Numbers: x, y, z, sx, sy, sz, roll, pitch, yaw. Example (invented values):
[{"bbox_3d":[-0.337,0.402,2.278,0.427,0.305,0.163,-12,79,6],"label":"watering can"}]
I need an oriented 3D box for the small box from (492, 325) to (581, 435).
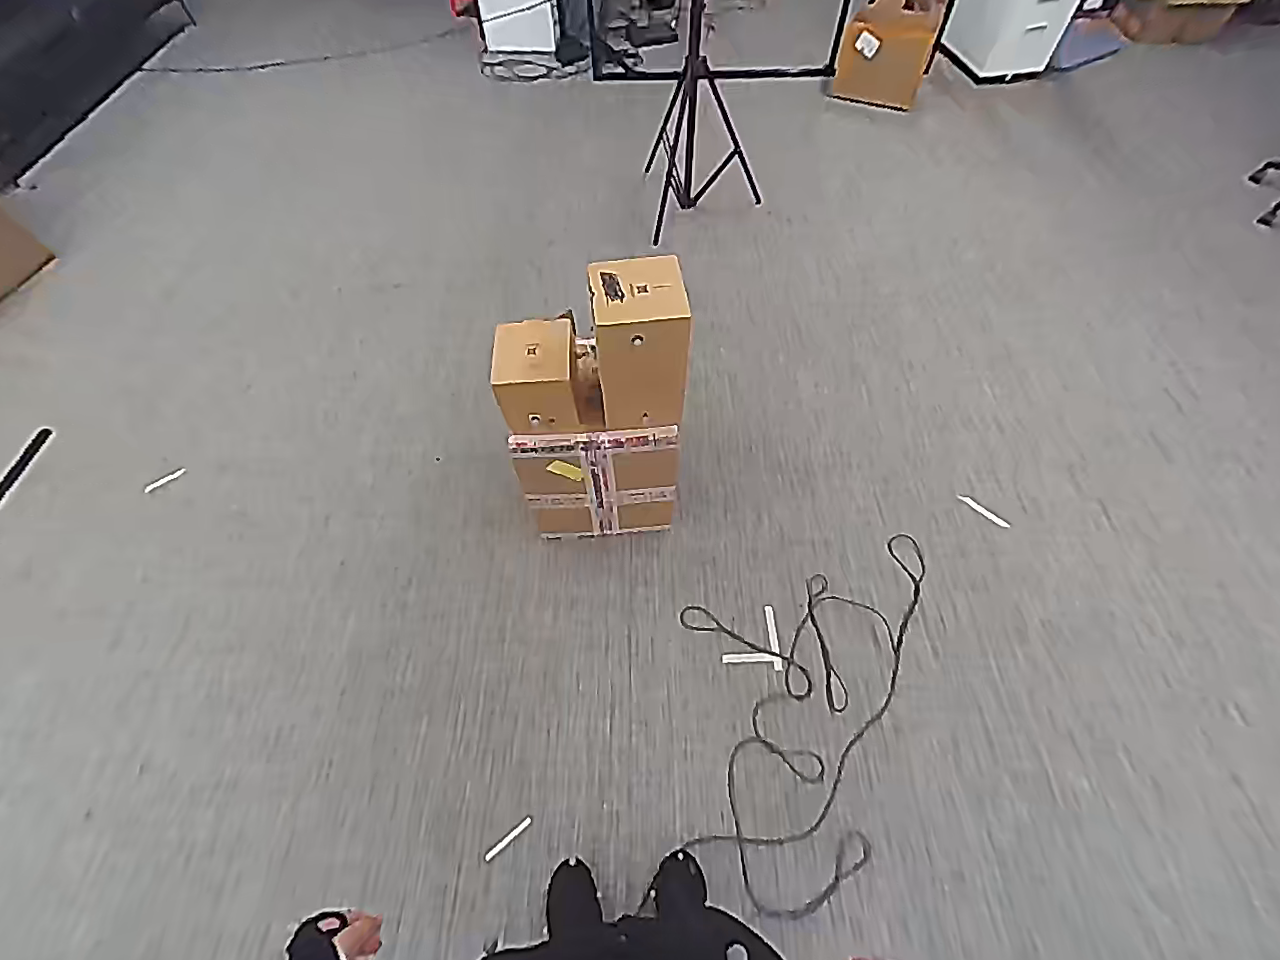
[{"bbox_3d":[-0.226,-0.223,1.223,0.168,0.176,0.179,-5,62,0],"label":"small box"}]

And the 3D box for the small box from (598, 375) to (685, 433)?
[{"bbox_3d":[-0.004,-0.222,1.220,0.179,0.176,0.168,-7,61,-4],"label":"small box"}]

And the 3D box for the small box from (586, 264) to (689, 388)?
[{"bbox_3d":[-0.006,-0.299,1.073,0.179,0.176,0.168,-7,61,-4],"label":"small box"}]
